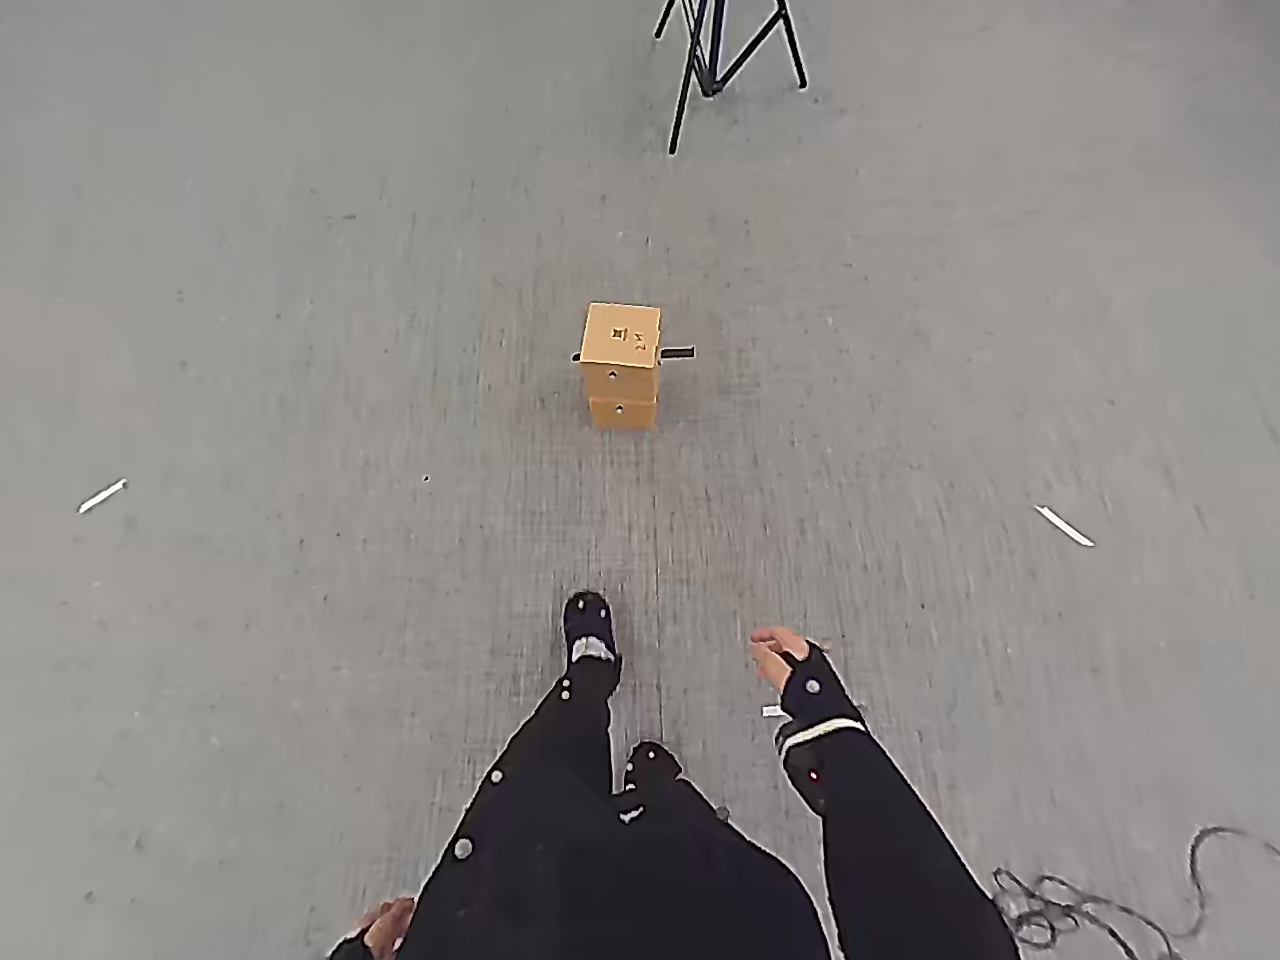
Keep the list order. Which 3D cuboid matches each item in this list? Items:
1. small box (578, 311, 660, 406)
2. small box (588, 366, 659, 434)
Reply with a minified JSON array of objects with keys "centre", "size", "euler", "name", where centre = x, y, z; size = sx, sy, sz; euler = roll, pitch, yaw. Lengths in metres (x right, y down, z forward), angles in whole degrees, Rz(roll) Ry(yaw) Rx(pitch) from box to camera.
[{"centre":[-0.047,-0.297,1.344],"size":[0.179,0.176,0.168],"euler":[6,71,4],"name":"small box"},{"centre":[-0.042,-0.235,1.497],"size":[0.179,0.176,0.168],"euler":[4,71,3],"name":"small box"}]
